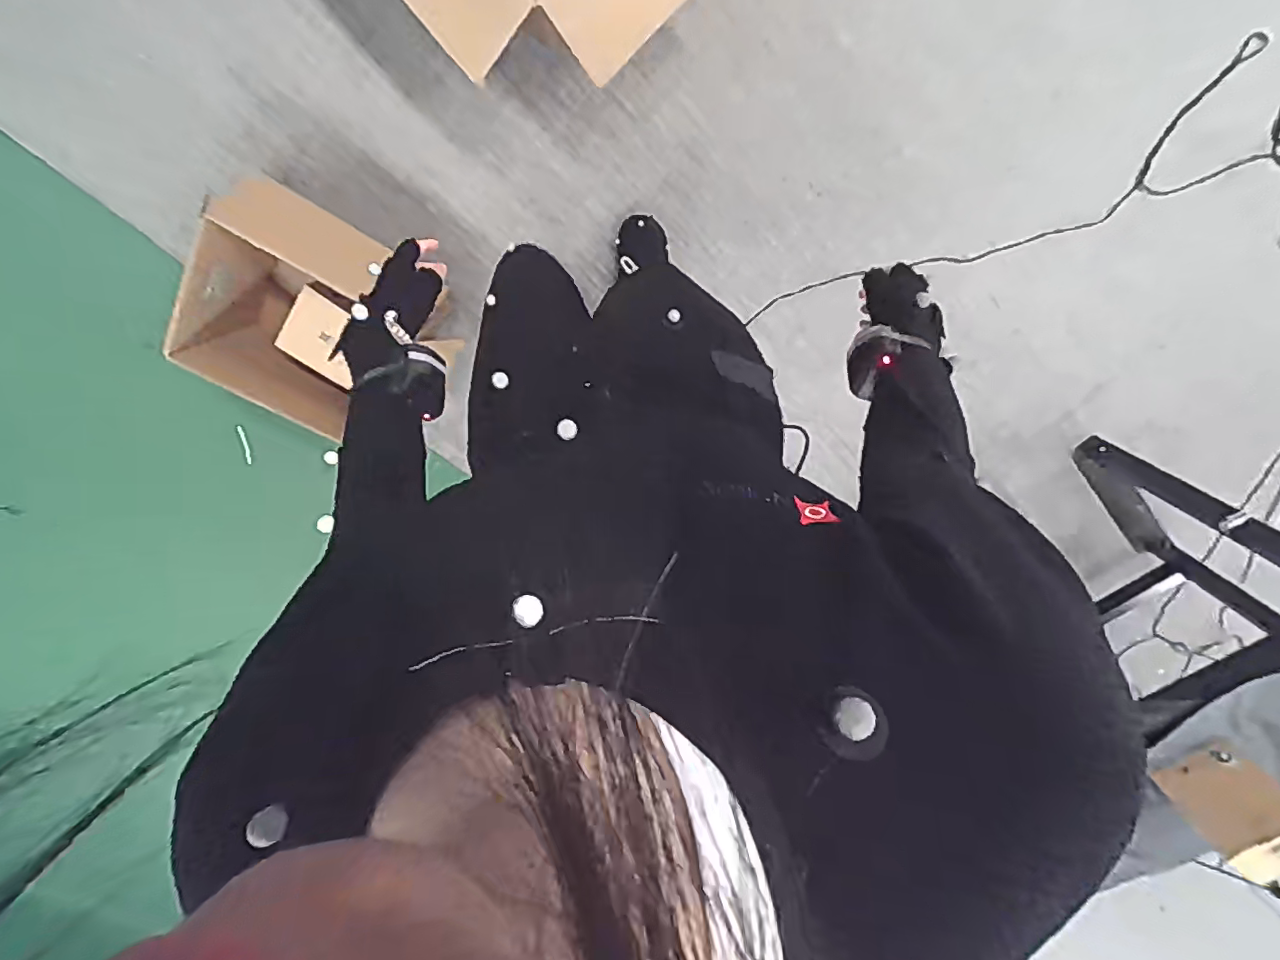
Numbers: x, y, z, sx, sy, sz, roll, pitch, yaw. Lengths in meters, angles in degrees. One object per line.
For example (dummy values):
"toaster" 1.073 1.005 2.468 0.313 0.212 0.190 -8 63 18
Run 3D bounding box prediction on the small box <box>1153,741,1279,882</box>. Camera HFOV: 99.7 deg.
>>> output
"small box" 1.206 0.660 1.089 0.179 0.176 0.168 36 112 -21
